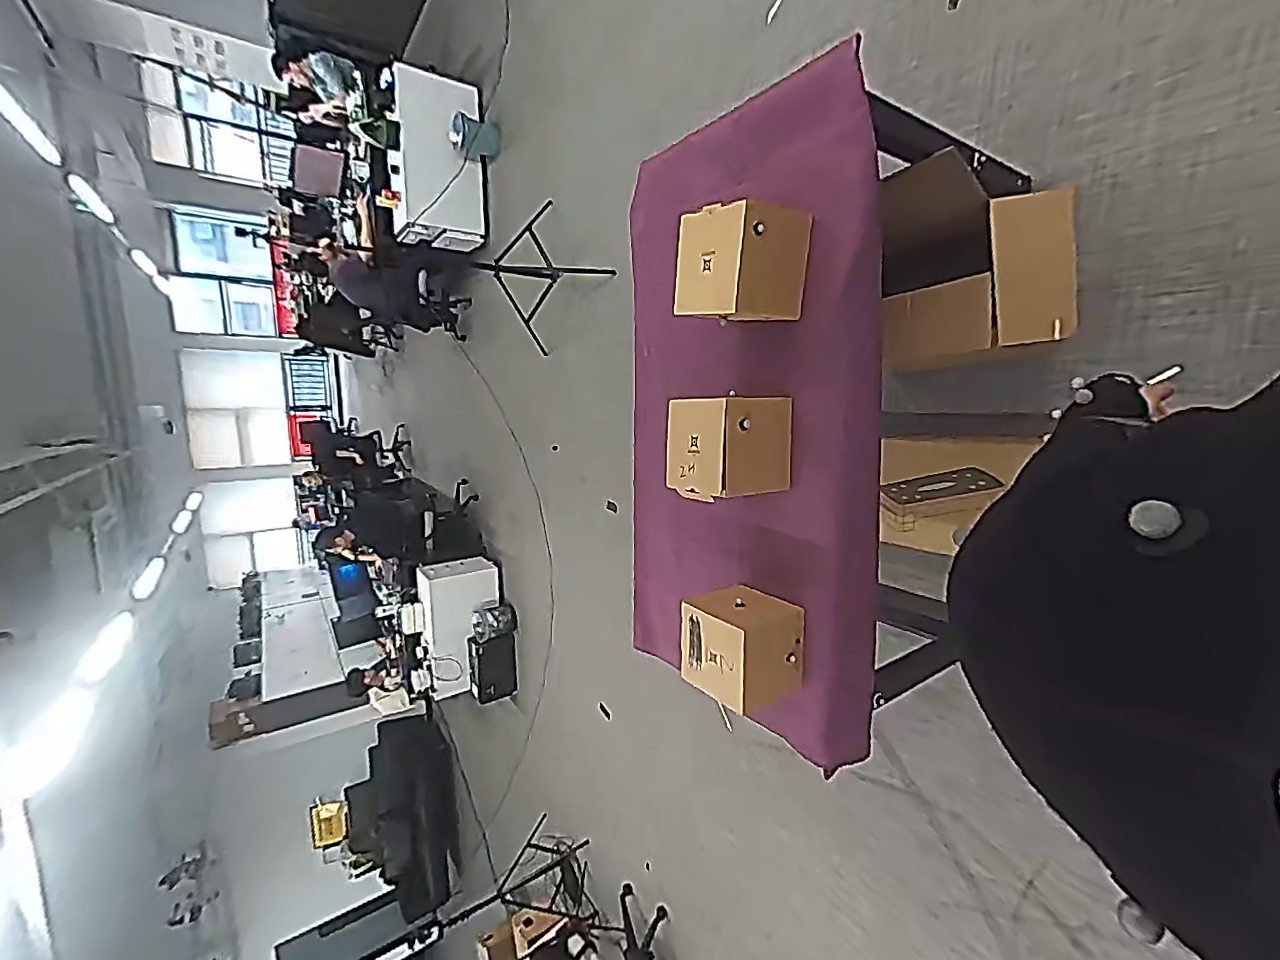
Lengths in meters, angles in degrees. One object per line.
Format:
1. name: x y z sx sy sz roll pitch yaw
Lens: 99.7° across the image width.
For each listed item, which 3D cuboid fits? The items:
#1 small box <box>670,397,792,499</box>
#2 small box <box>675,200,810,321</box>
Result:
1. small box: 0.173 -0.068 1.032 0.168 0.176 0.179 11 104 57
2. small box: 0.182 -0.380 0.970 0.168 0.176 0.179 22 113 53
